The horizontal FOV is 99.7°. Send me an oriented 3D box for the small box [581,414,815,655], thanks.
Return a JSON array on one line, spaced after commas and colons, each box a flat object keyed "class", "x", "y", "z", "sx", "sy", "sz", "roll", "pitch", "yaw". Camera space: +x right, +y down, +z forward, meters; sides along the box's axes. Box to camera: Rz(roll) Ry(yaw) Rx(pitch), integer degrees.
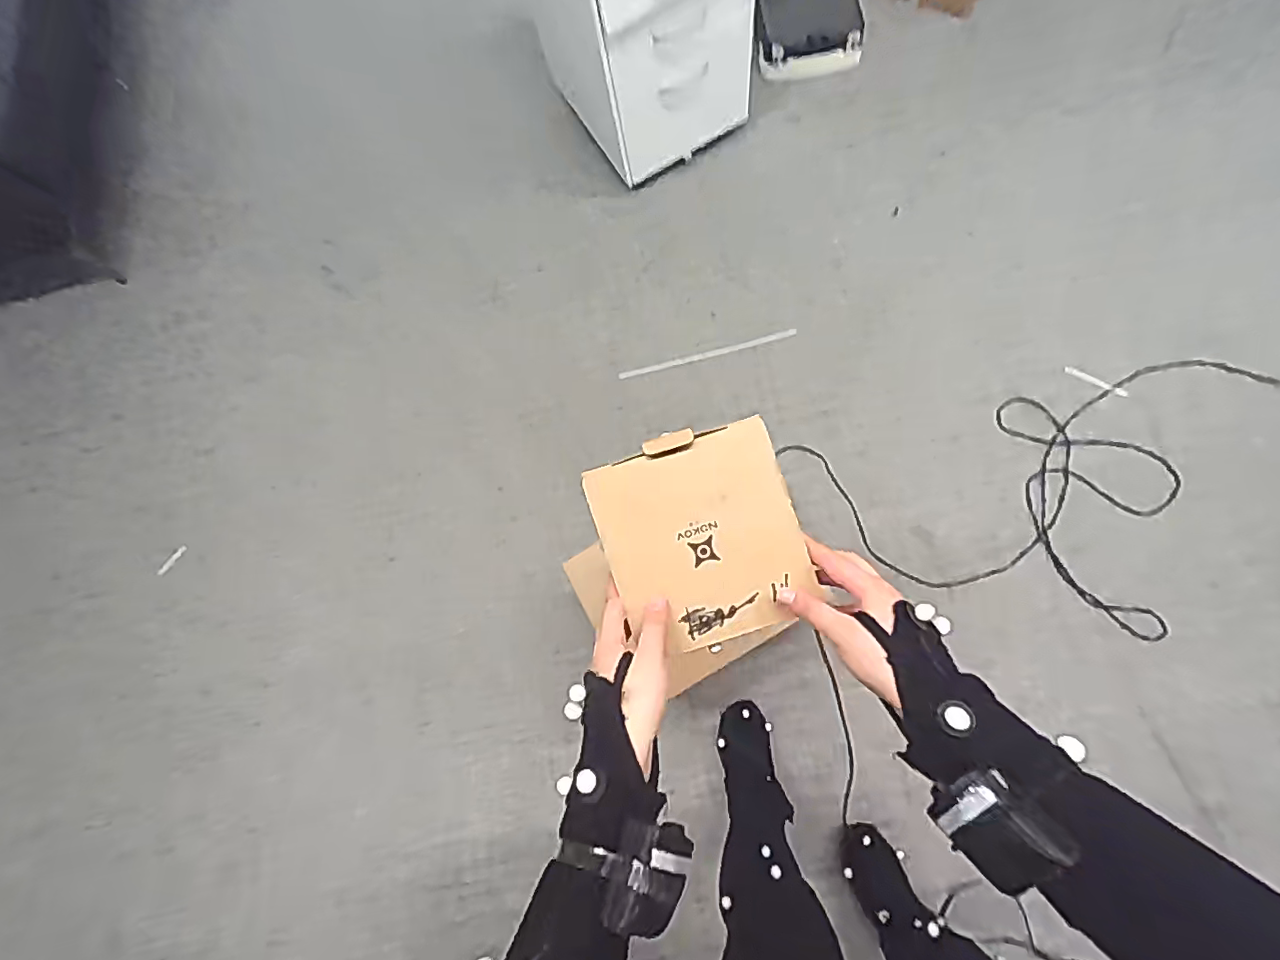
[{"class": "small box", "x": 0.052, "y": 0.048, "z": 0.551, "sx": 0.168, "sy": 0.176, "sz": 0.179, "roll": -19, "pitch": 90, "yaw": 3}]
